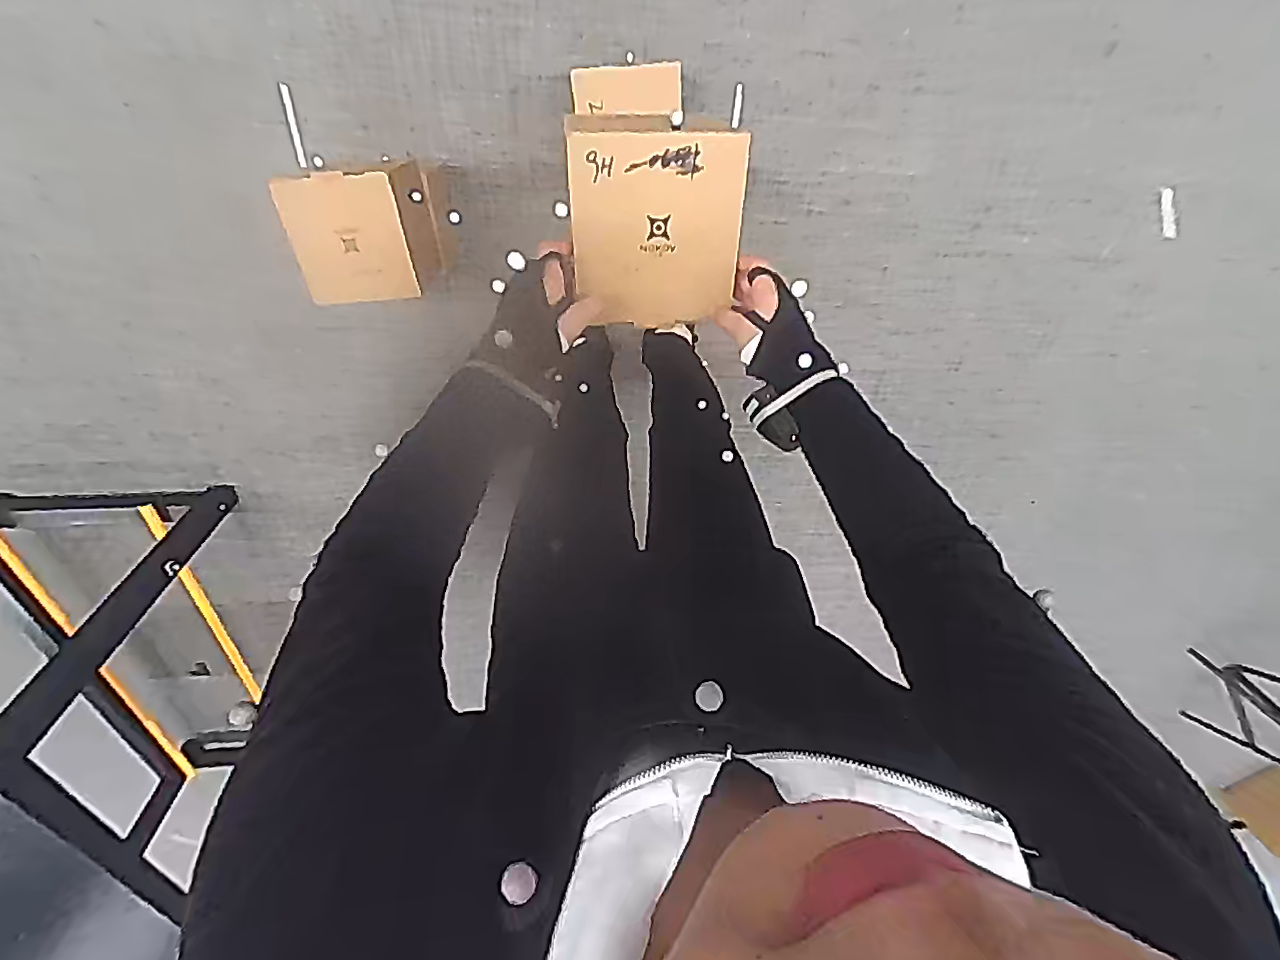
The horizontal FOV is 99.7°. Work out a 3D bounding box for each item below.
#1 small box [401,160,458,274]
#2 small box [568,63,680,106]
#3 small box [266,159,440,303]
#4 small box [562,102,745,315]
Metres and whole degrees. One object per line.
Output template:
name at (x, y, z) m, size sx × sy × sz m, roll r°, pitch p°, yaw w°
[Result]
small box at (-0.447, -0.481, 0.984) m, size 0.179 × 0.176 × 0.168 m, roll -3°, pitch 126°, yaw -5°
small box at (-0.030, -0.620, 0.939) m, size 0.179 × 0.176 × 0.168 m, roll -6°, pitch 126°, yaw -3°
small box at (-0.431, -0.395, 0.846) m, size 0.168 × 0.176 × 0.179 m, roll -5°, pitch 127°, yaw -2°
small box at (0.003, -0.297, 0.591) m, size 0.168 × 0.176 × 0.179 m, roll -3°, pitch 129°, yaw -6°
